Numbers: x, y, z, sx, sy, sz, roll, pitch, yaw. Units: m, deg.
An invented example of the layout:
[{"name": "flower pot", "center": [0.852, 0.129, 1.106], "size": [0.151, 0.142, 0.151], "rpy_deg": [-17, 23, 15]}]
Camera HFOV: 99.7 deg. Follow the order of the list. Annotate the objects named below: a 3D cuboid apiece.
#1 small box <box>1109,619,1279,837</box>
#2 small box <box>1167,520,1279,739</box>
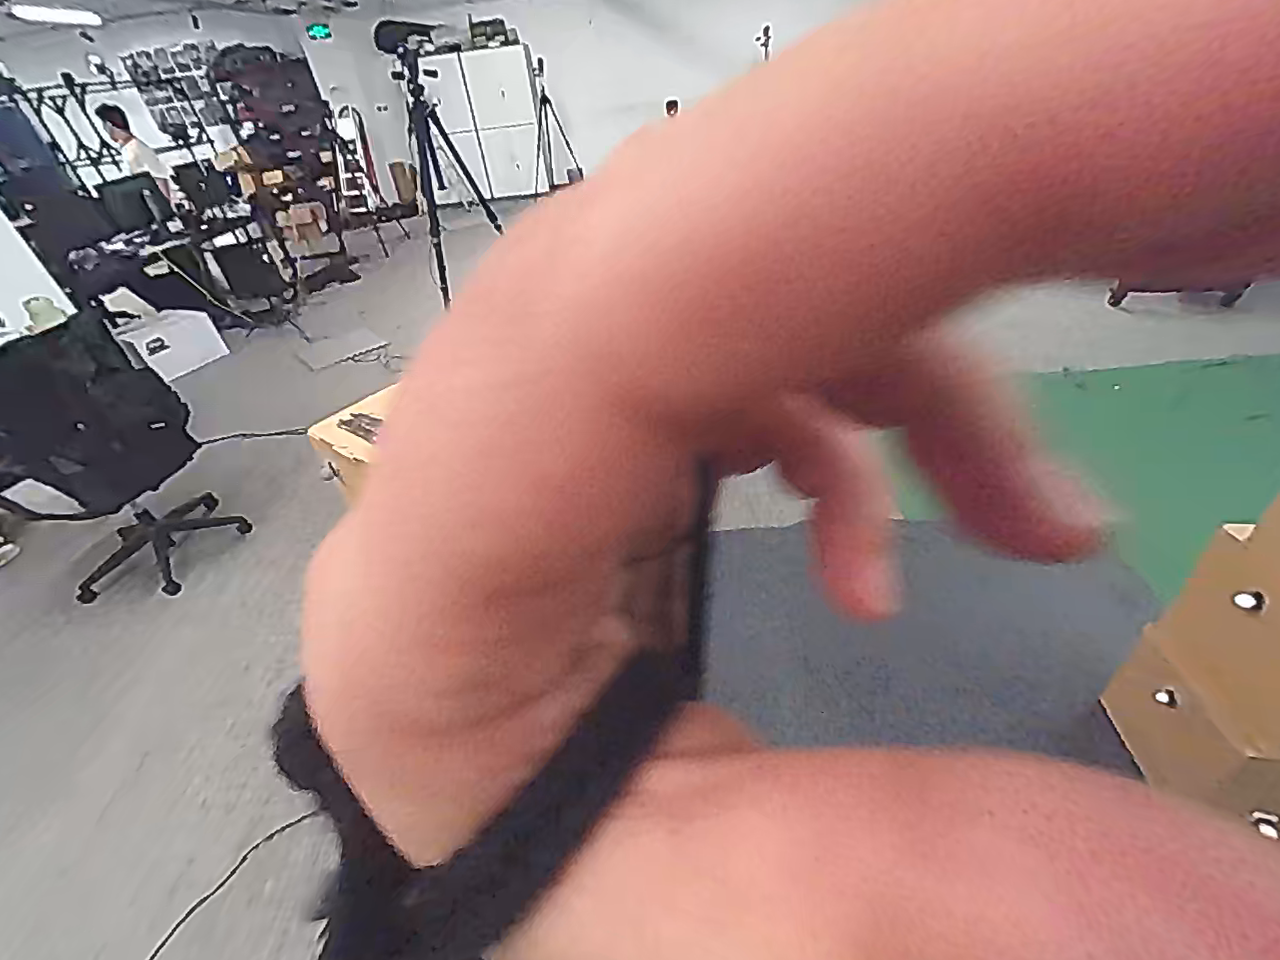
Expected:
[{"name": "small box", "center": [0.713, 0.290, 0.641], "size": [0.168, 0.176, 0.179], "rpy_deg": [-1, 36, 12]}, {"name": "small box", "center": [0.708, 0.157, 0.547], "size": [0.168, 0.176, 0.179], "rpy_deg": [-2, 34, 11]}]
